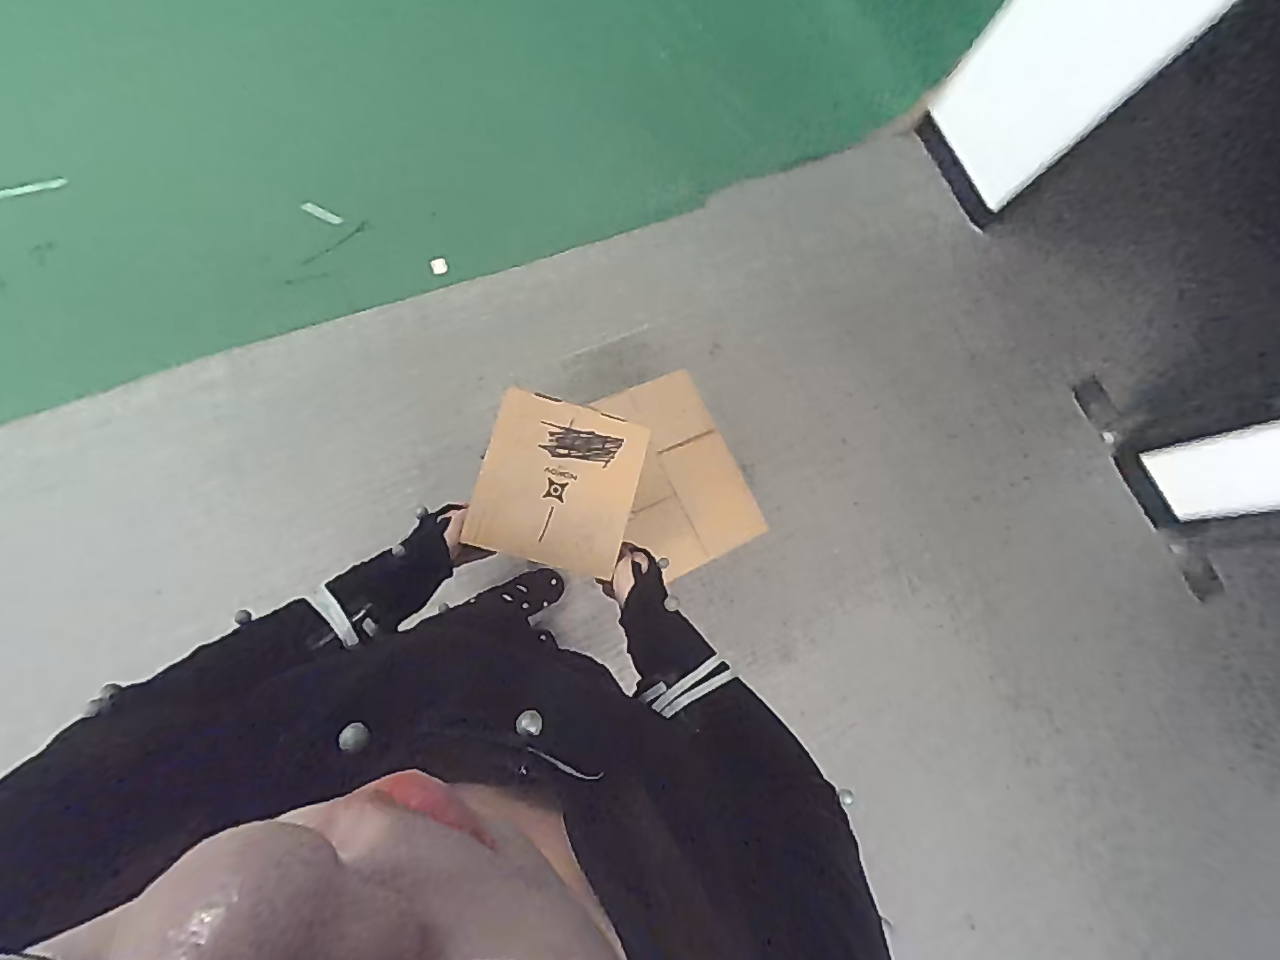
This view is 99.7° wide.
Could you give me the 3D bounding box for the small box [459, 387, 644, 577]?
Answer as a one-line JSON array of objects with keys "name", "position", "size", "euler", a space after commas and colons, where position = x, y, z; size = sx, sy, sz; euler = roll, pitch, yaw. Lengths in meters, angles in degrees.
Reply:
[{"name": "small box", "position": [-0.106, 0.008, 0.667], "size": [0.168, 0.176, 0.179], "euler": [15, 83, -7]}]
